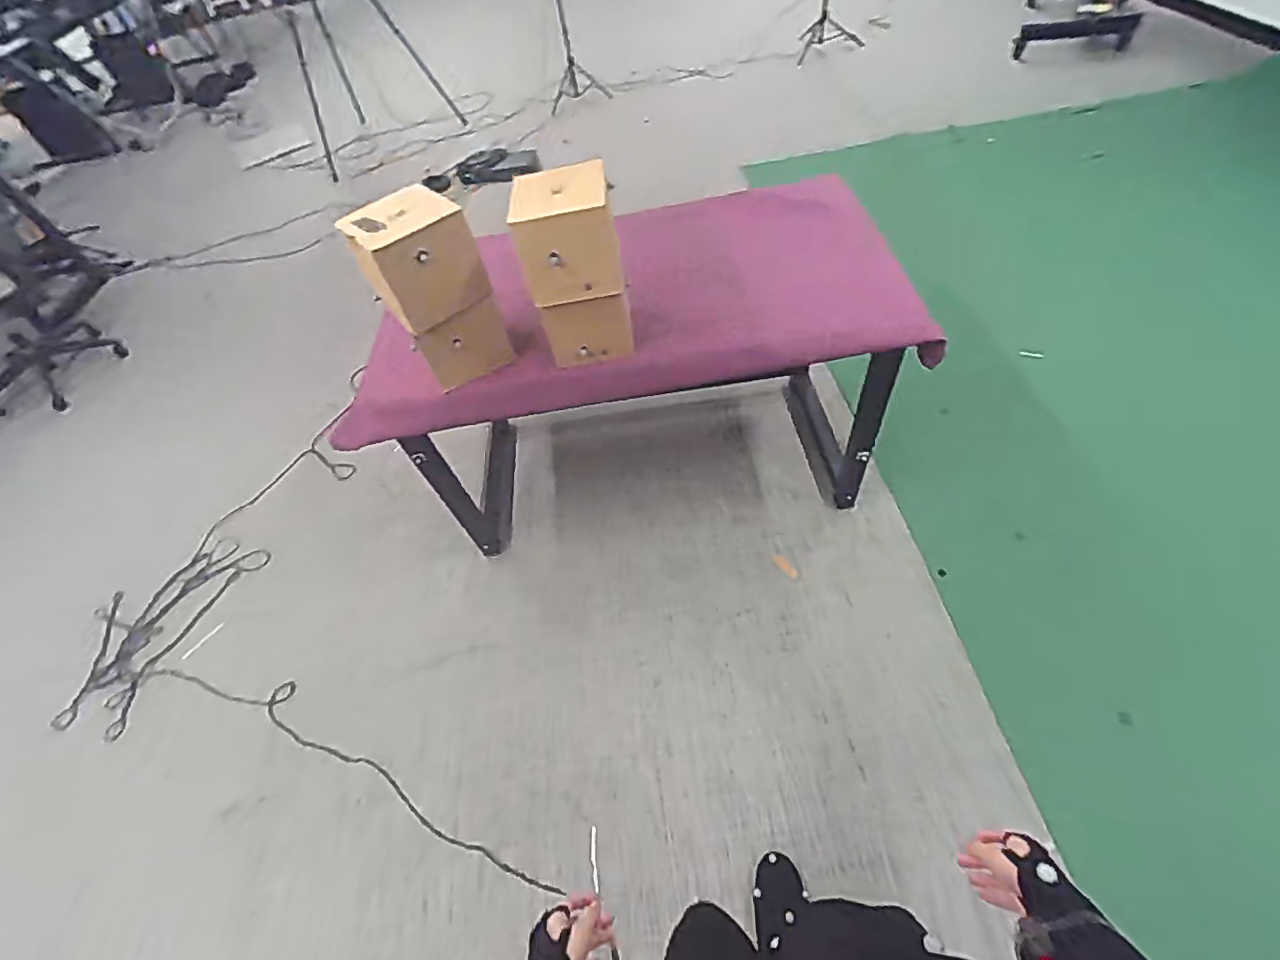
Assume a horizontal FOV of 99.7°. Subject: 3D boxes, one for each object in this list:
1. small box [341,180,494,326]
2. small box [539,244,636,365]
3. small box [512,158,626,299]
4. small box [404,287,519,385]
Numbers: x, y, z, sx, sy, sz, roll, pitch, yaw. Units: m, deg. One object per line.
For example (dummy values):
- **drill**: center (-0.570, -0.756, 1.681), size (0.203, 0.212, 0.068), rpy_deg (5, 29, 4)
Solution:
- **small box**: center (-0.402, -0.416, 1.000), size (0.179, 0.176, 0.168), rpy_deg (-37, 57, -19)
- **small box**: center (-0.103, -0.366, 1.125), size (0.168, 0.176, 0.179), rpy_deg (-7, 53, 4)
- **small box**: center (-0.121, -0.448, 0.985), size (0.168, 0.176, 0.179), rpy_deg (-8, 51, 5)
- **small box**: center (-0.381, -0.331, 1.141), size (0.179, 0.176, 0.168), rpy_deg (-28, 55, -12)
